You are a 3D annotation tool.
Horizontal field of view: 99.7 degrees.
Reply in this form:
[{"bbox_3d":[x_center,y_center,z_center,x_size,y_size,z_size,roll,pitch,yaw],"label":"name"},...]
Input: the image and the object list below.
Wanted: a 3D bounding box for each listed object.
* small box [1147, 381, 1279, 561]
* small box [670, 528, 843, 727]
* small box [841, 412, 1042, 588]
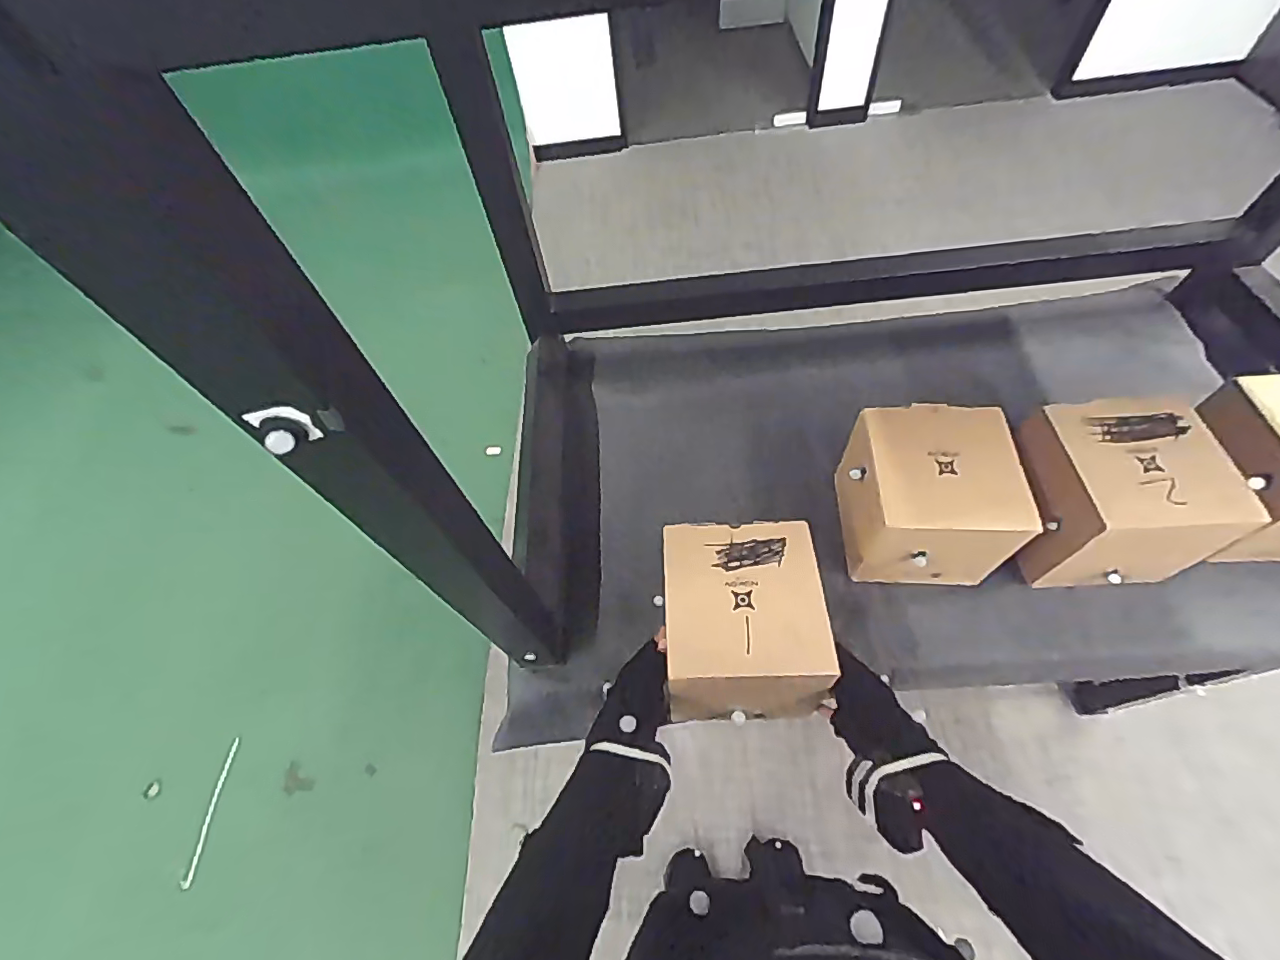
[{"bbox_3d":[0.808,-0.005,0.673,0.168,0.176,0.179,-2,57,5],"label":"small box"},{"bbox_3d":[0.118,0.173,0.628,0.168,0.176,0.179,-2,53,3],"label":"small box"},{"bbox_3d":[0.370,0.031,0.704,0.168,0.176,0.179,0,57,7],"label":"small box"}]
